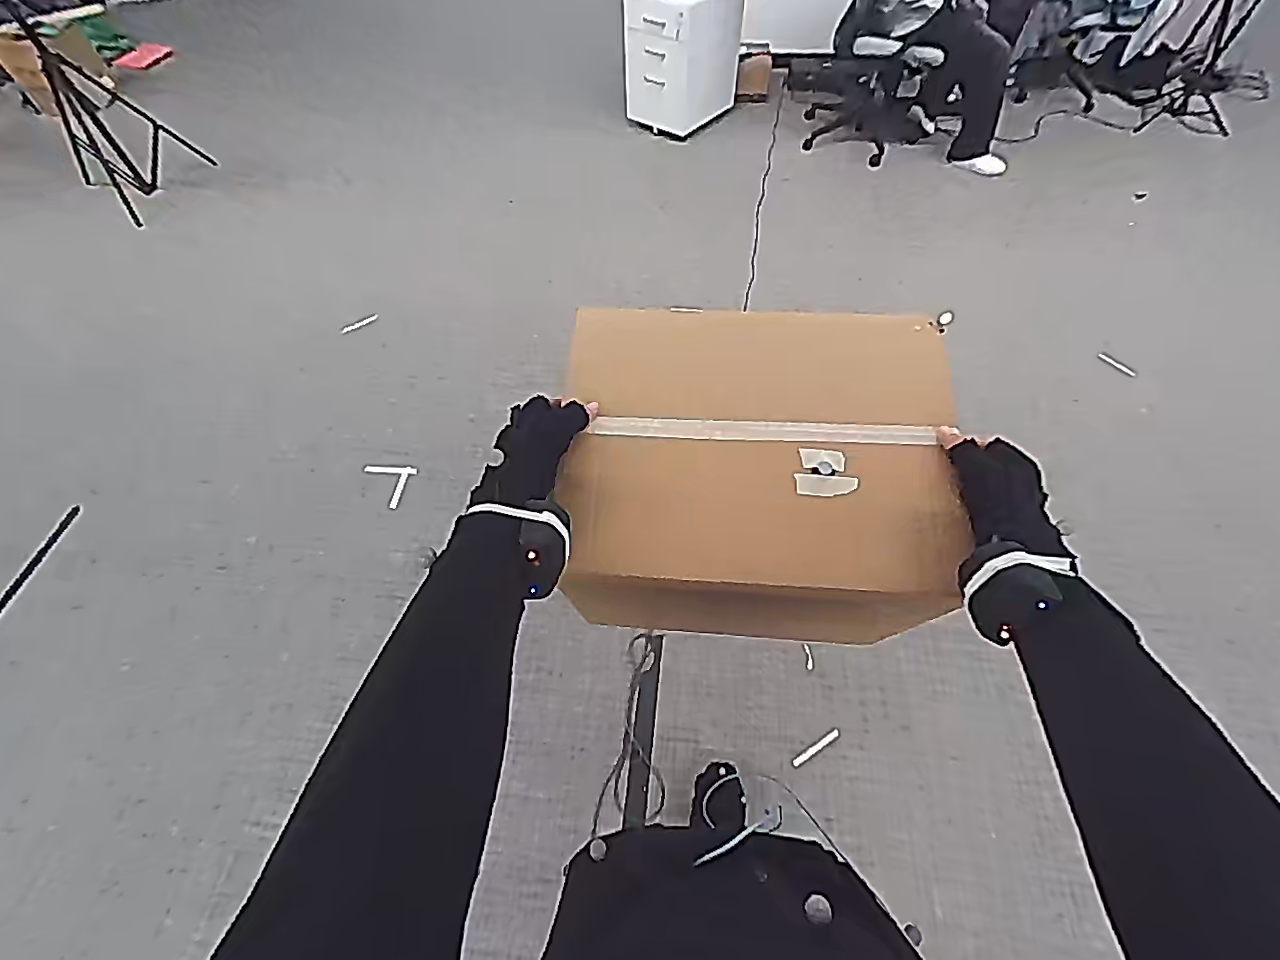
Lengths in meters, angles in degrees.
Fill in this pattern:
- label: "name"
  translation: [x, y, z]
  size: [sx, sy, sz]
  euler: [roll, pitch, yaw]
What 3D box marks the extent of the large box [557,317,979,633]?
- label: "large box"
  translation: [0.131, 0.011, 0.705]
  size: [0.408, 0.320, 0.320]
  euler: [3, 67, 5]
